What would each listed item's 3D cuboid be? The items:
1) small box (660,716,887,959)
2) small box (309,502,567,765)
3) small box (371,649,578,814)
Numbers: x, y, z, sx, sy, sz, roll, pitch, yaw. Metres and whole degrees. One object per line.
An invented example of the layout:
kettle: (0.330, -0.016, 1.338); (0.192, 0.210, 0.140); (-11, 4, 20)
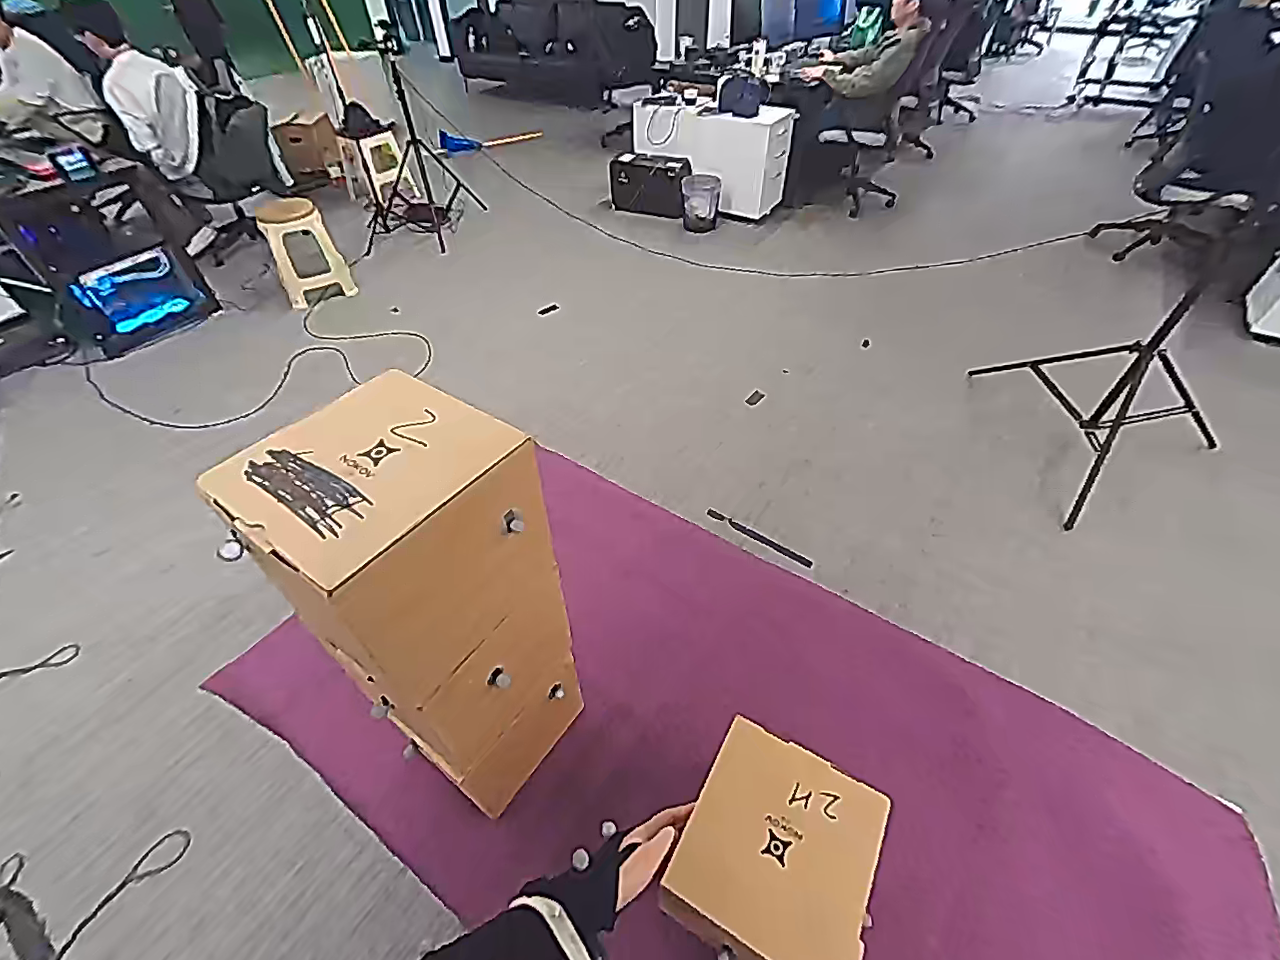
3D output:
small box: (0.133, 0.396, 0.569); (0.168, 0.176, 0.179); (23, 50, 21)
small box: (-0.193, 0.163, 0.574); (0.168, 0.176, 0.179); (25, 51, 22)
small box: (-0.193, 0.281, 0.687); (0.168, 0.176, 0.179); (27, 51, 24)
